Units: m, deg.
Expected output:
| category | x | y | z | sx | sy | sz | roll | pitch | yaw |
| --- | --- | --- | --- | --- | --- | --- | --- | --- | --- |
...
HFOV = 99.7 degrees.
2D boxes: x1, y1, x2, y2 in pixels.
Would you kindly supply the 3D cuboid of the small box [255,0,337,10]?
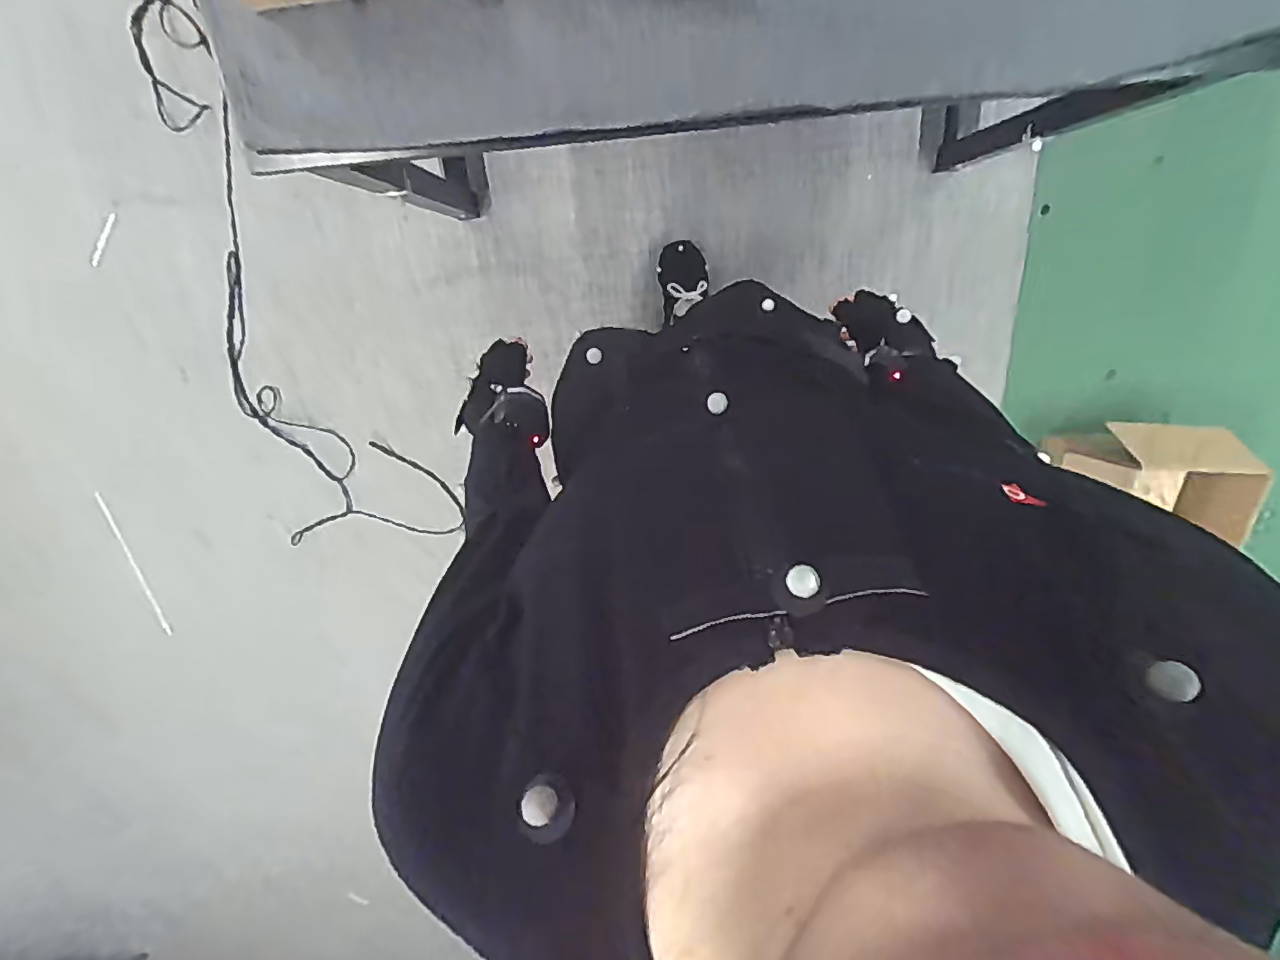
| category | x | y | z | sx | sy | sz | roll | pitch | yaw |
| --- | --- | --- | --- | --- | --- | --- | --- | --- | --- |
| small box | -0.319 | -0.539 | 0.442 | 0.168 | 0.176 | 0.179 | -8 | 109 | 1 |
